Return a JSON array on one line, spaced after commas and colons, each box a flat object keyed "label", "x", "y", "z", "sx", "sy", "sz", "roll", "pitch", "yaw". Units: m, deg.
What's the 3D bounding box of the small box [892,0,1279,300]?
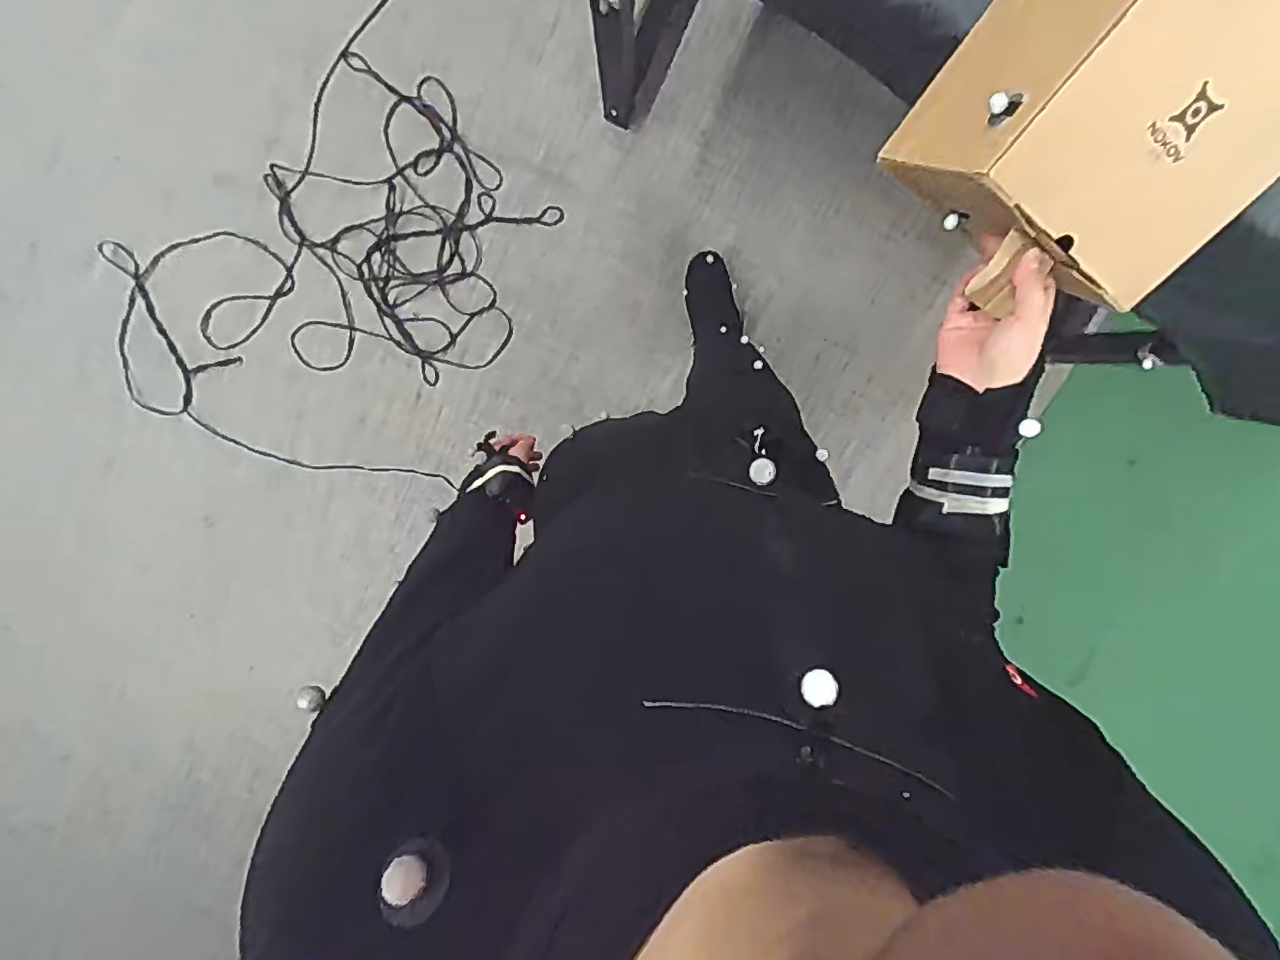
[{"label": "small box", "x": 0.325, "y": -0.268, "z": 0.387, "sx": 0.168, "sy": 0.176, "sz": 0.179, "roll": 25, "pitch": 120, "yaw": -20}]
